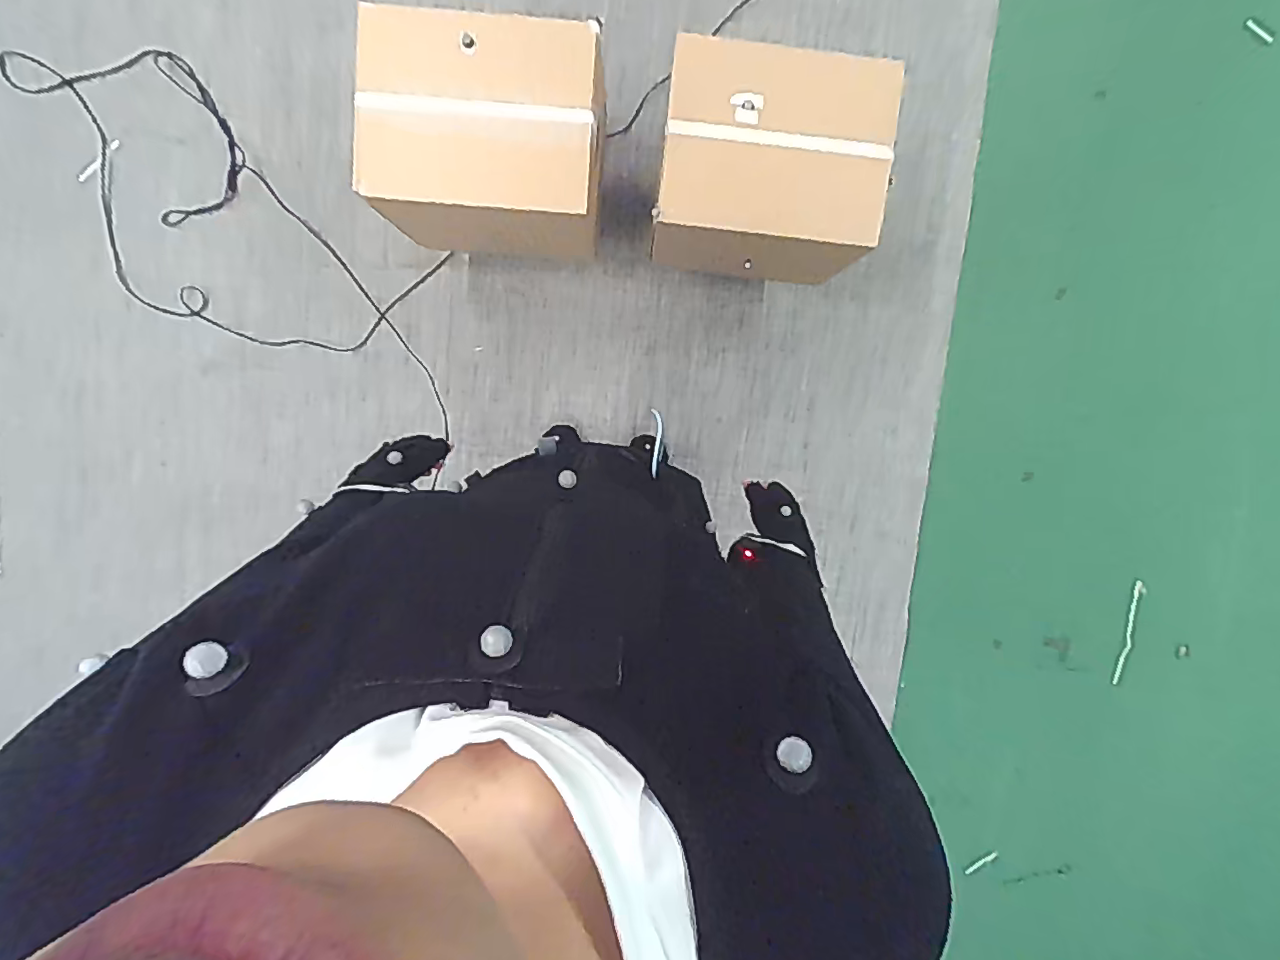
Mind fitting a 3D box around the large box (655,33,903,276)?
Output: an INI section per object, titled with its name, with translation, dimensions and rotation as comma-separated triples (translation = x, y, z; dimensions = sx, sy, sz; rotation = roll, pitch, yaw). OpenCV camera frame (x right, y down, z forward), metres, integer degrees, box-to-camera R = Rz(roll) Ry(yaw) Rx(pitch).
[large box]
translation = 0.249, -0.625, 1.106
dimensions = 0.408, 0.320, 0.320
rotation = 6, 97, -2
